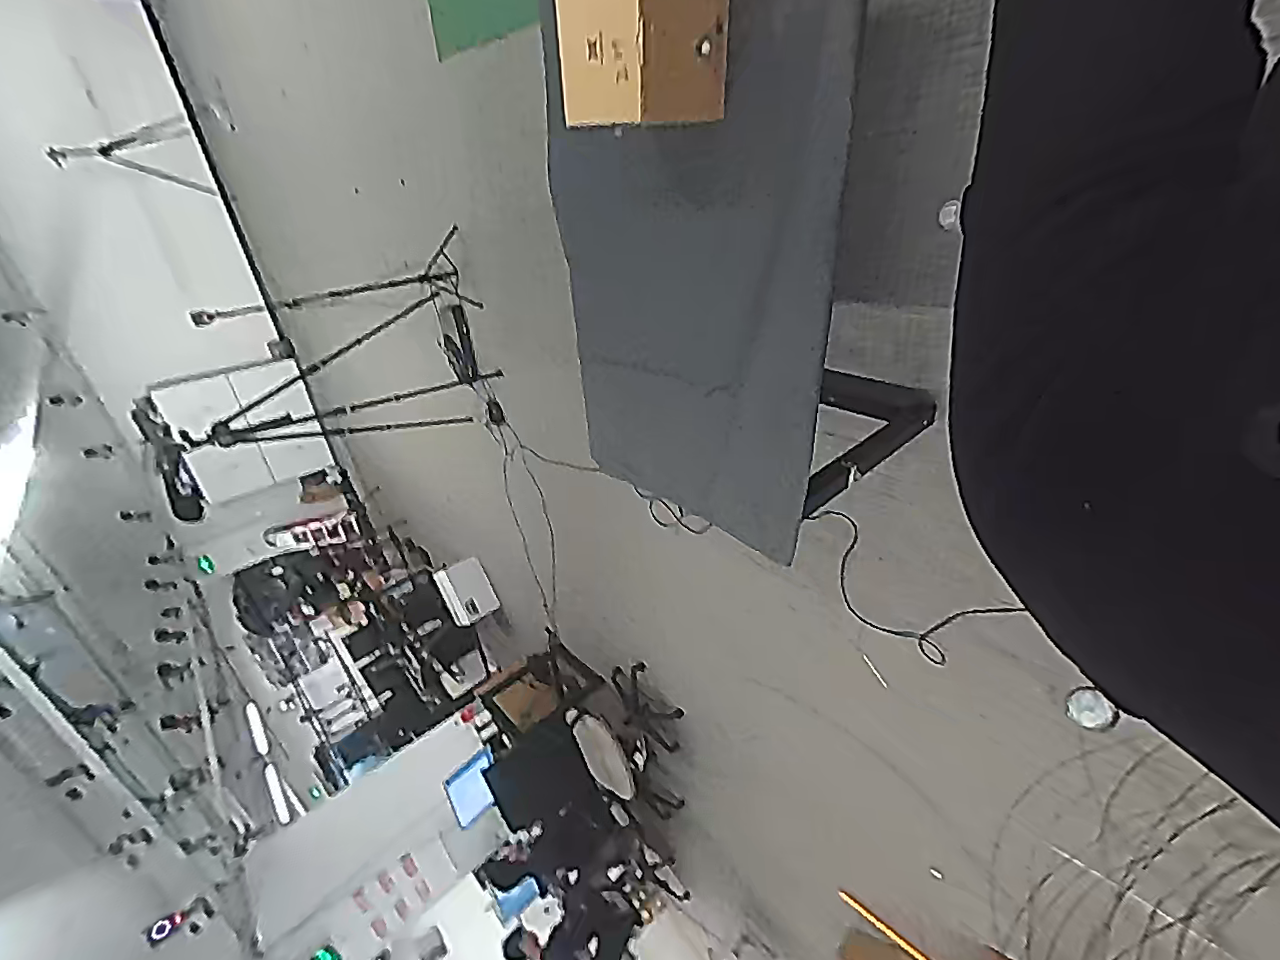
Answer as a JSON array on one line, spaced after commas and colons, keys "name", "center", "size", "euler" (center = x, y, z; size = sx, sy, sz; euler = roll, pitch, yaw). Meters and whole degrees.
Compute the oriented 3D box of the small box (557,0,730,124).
[{"name": "small box", "center": [0.004, -0.608, 0.771], "size": [0.179, 0.176, 0.168], "euler": [29, 134, 39]}]
